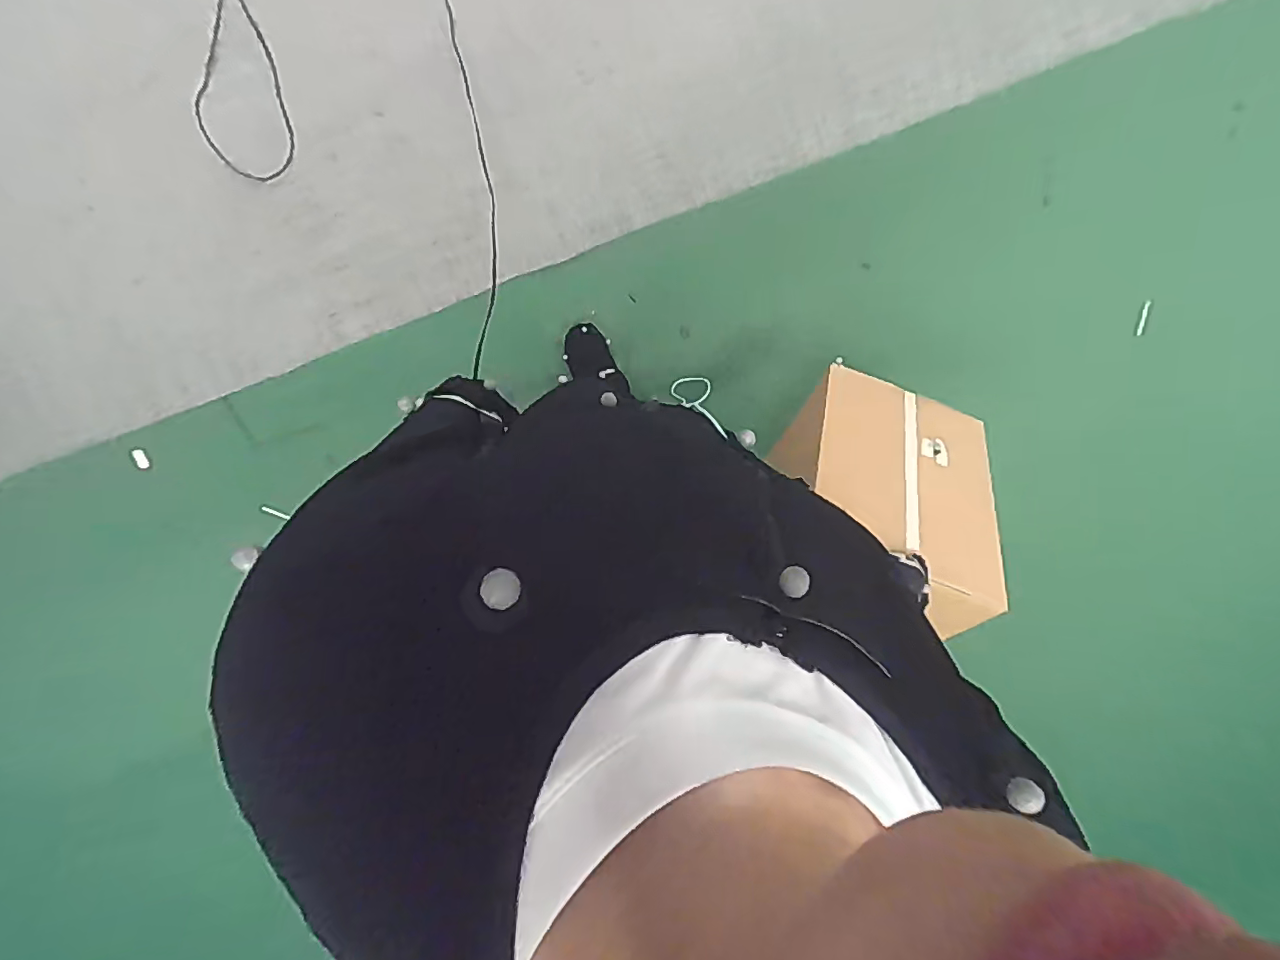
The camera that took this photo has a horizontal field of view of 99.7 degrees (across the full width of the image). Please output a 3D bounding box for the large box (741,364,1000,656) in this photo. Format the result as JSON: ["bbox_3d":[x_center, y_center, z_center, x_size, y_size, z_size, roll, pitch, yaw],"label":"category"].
[{"bbox_3d":[0.412,0.062,1.036,0.320,0.408,0.320,21,143,-1],"label":"large box"}]
